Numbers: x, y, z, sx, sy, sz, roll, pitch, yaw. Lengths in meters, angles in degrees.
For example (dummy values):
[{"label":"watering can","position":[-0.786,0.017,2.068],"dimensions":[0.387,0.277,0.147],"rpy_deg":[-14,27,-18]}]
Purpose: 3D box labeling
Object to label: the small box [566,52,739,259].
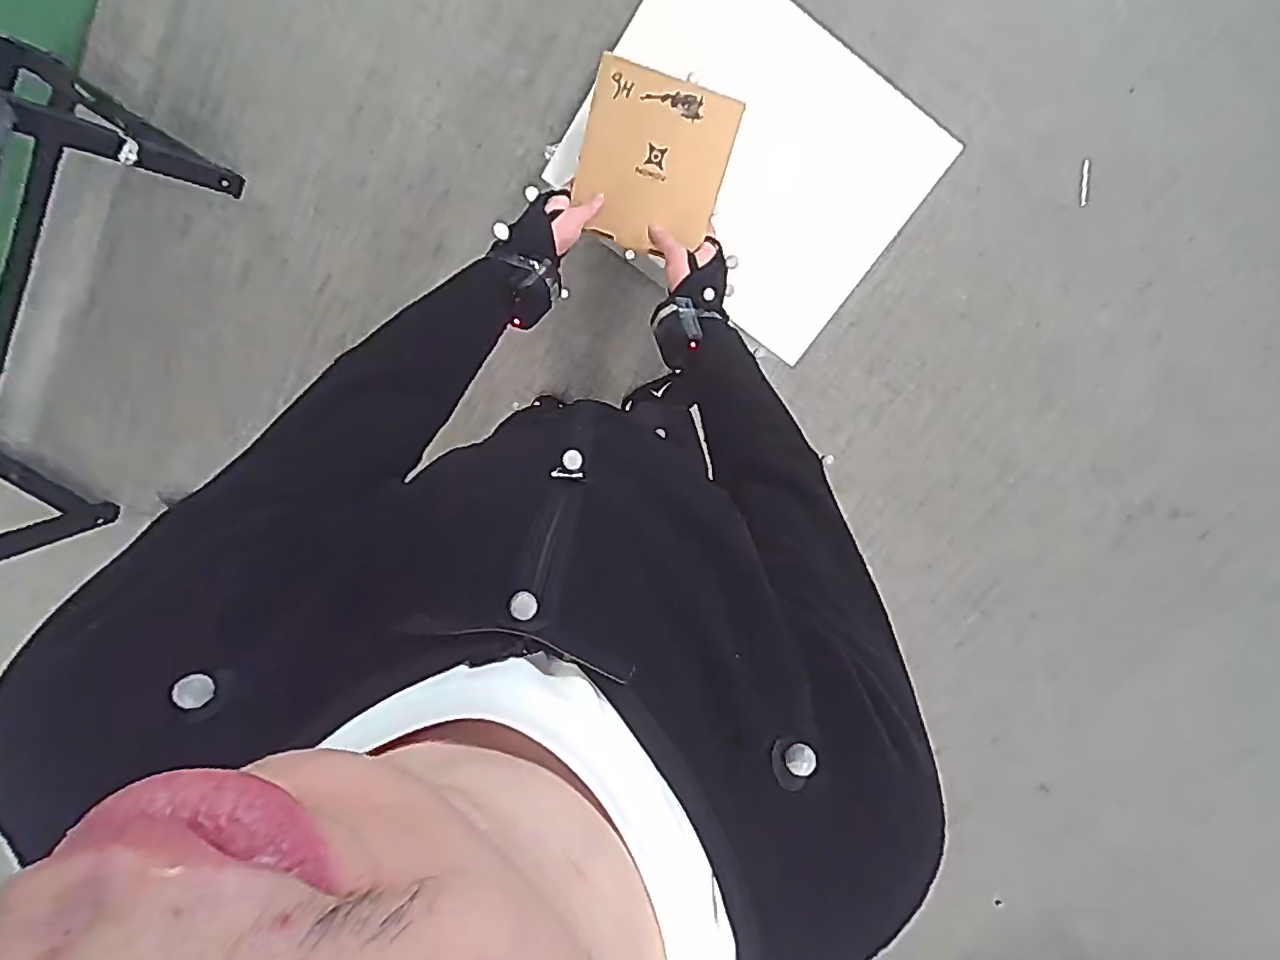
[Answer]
[{"label":"small box","position":[0.012,-0.393,0.692],"dimensions":[0.168,0.176,0.179],"rpy_deg":[13,111,-5]}]
